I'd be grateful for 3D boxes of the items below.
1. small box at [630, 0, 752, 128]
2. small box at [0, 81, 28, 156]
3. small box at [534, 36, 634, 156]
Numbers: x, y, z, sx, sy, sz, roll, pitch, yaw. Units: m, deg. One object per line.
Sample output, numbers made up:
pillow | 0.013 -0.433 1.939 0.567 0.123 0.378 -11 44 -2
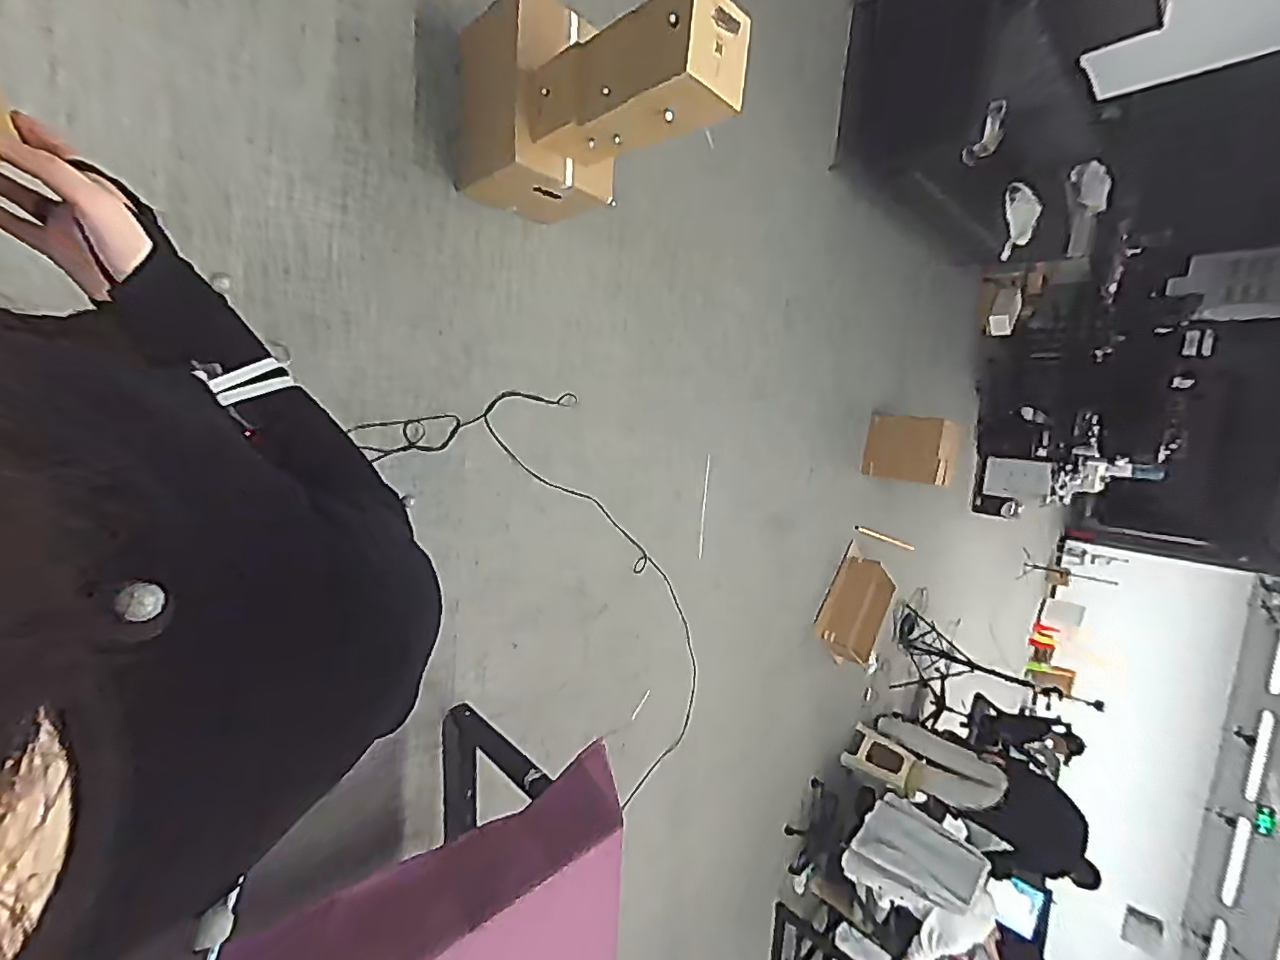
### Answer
small box | 0.097 -0.845 1.074 0.168 0.176 0.179 -1 101 -44
small box | -0.459 -0.236 0.249 0.168 0.176 0.179 -25 132 -23
small box | -0.133 -0.908 1.301 0.179 0.176 0.168 -6 103 -43
